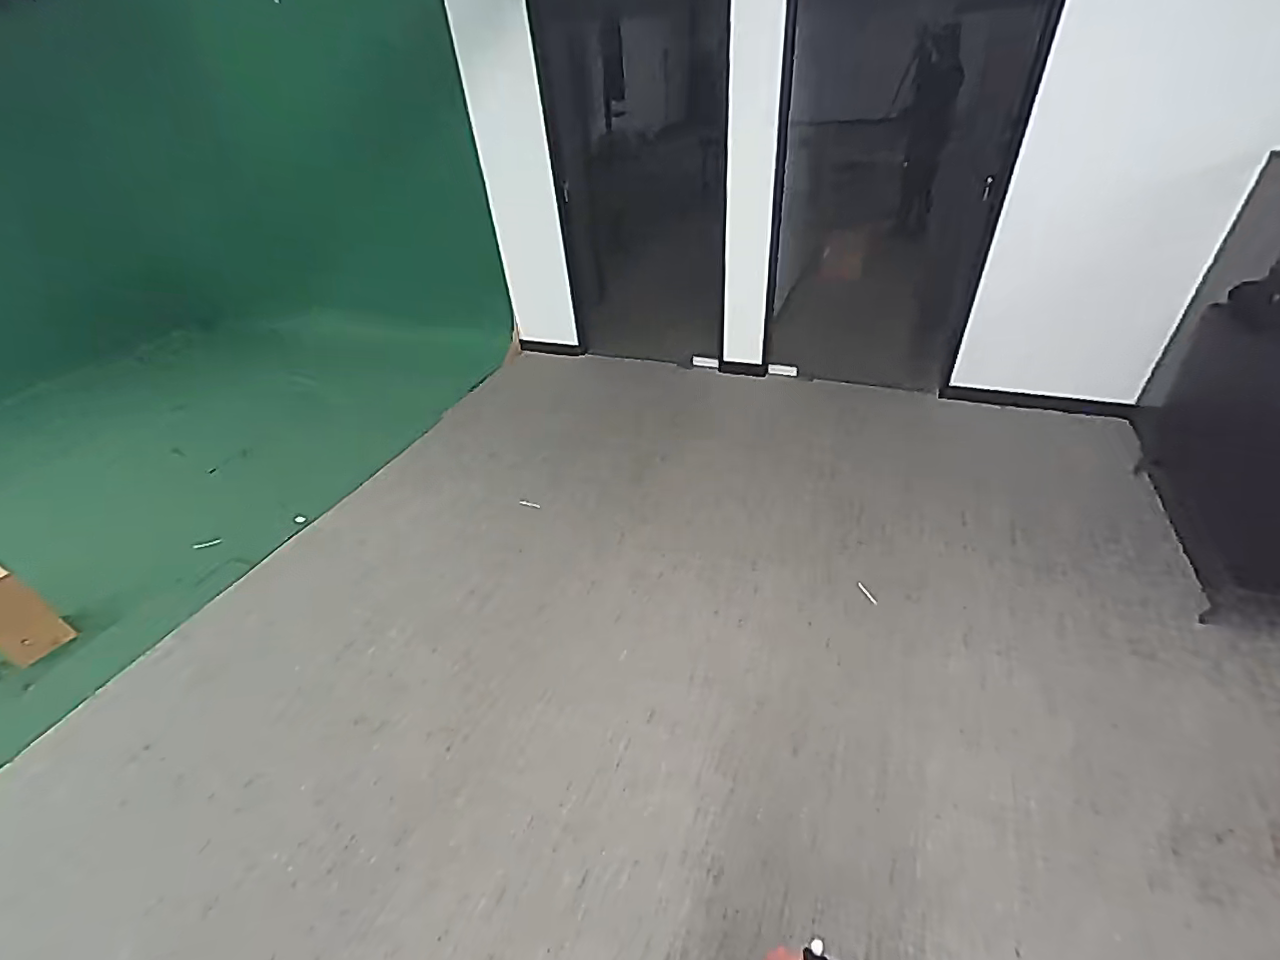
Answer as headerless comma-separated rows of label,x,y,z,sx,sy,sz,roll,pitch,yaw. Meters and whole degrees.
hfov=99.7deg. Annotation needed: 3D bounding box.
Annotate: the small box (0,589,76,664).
small box,-2.178,0.524,1.917,0.179,0.176,0.168,17,42,26
